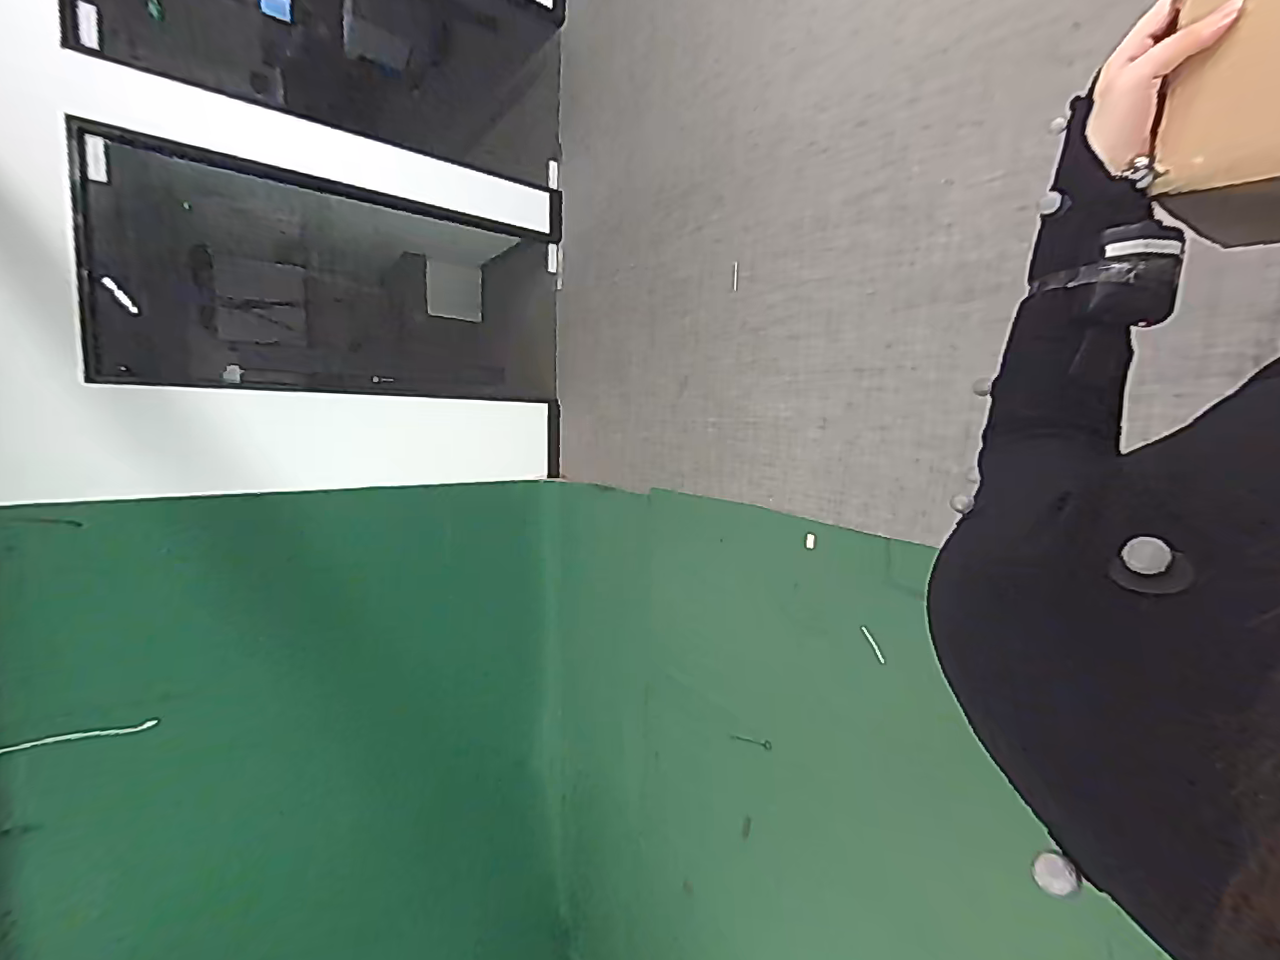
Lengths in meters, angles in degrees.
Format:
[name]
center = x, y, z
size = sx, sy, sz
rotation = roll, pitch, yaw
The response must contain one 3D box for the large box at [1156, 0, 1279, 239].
[large box]
center = 0.621, -0.346, 0.299
size = 0.408, 0.320, 0.320
rotation = 17, 111, 53
